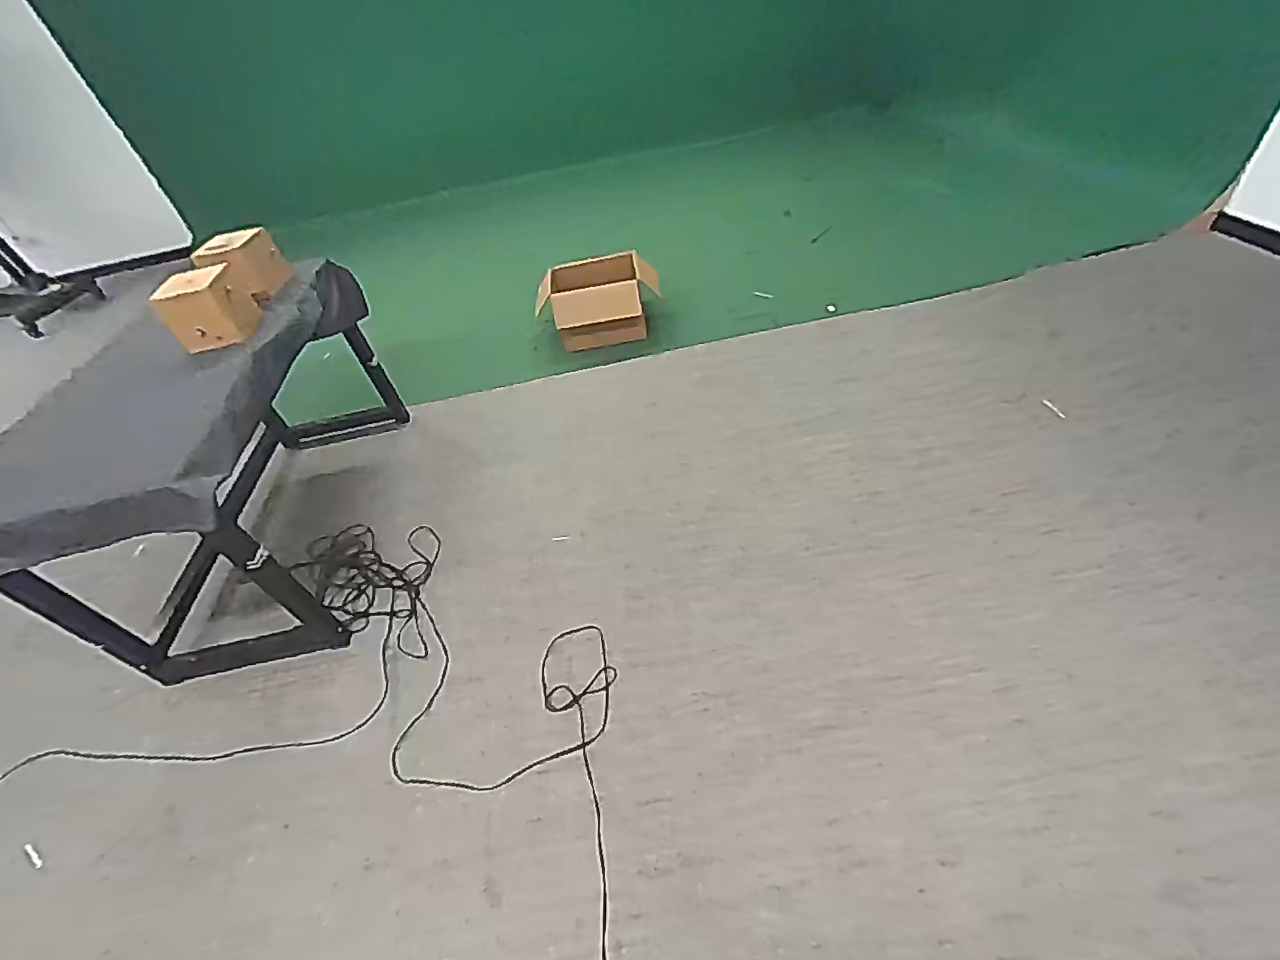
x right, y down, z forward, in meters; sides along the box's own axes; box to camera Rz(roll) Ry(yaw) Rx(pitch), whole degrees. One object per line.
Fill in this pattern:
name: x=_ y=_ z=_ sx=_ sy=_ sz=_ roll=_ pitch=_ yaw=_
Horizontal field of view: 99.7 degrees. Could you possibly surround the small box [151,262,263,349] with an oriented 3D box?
small box: x=-1.248 y=-0.507 z=1.577 sx=0.168 sy=0.176 sz=0.179 roll=-14 pitch=45 yaw=-2
